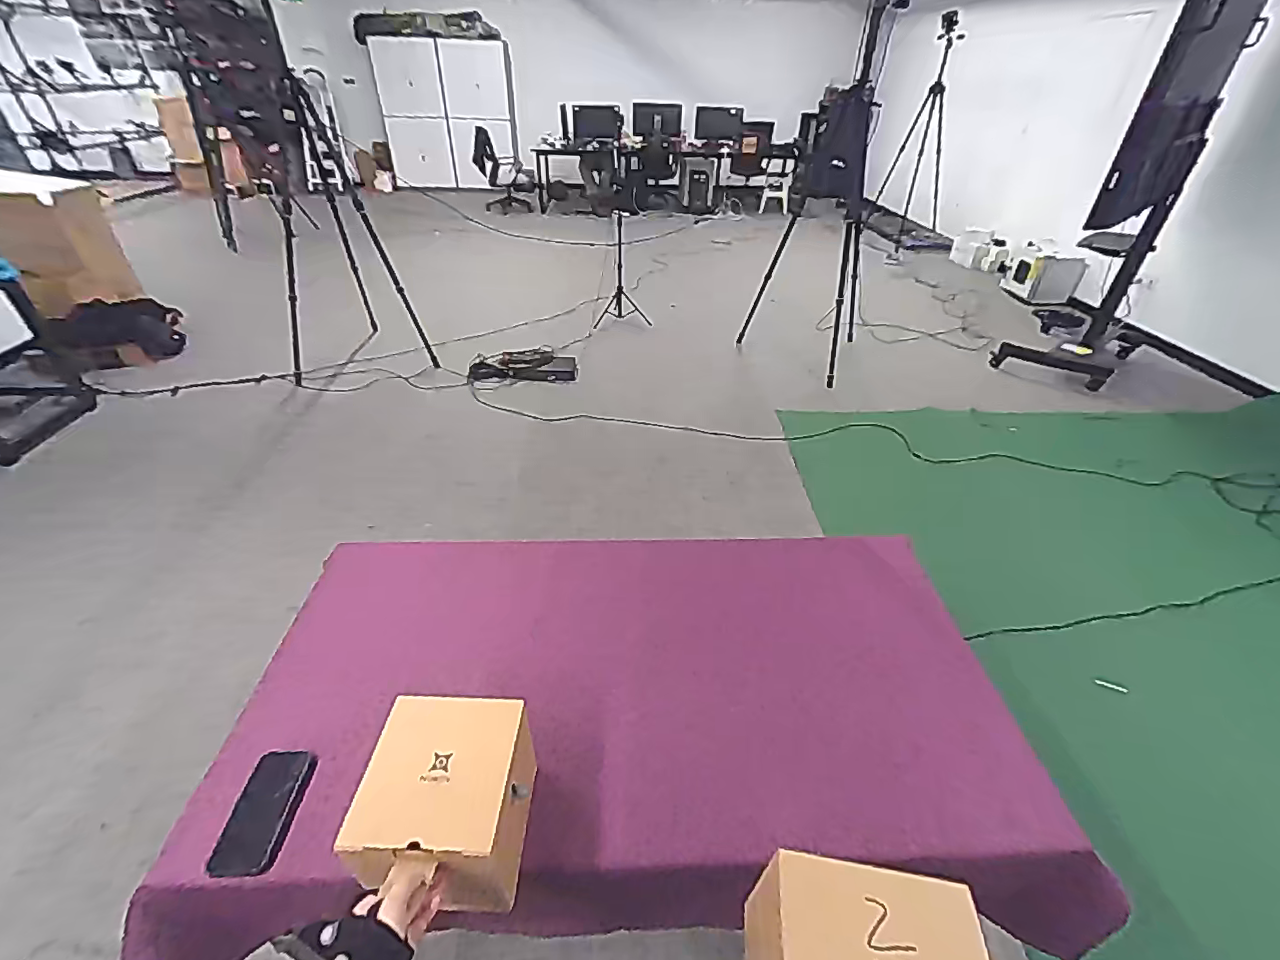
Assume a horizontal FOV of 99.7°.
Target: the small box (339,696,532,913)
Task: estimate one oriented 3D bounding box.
[{"bbox_3d":[-0.232,0.397,0.669,0.168,0.176,0.179,3,36,0],"label":"small box"}]
